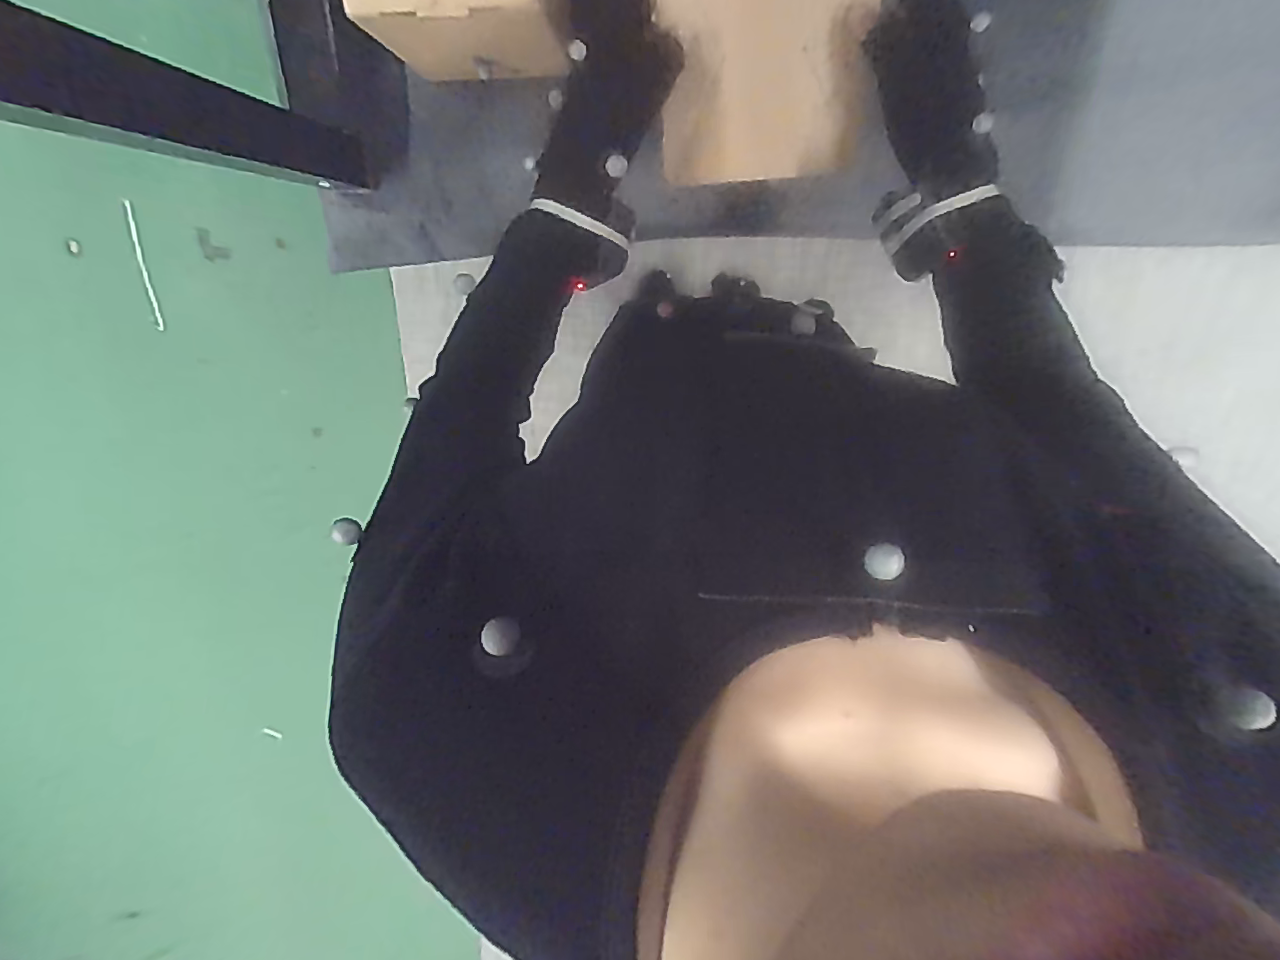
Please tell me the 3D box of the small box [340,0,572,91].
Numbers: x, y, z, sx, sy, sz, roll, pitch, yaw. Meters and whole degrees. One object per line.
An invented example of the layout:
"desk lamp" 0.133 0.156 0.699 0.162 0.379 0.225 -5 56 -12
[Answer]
"small box" -0.159 -0.484 0.488 0.168 0.176 0.179 0 110 4
